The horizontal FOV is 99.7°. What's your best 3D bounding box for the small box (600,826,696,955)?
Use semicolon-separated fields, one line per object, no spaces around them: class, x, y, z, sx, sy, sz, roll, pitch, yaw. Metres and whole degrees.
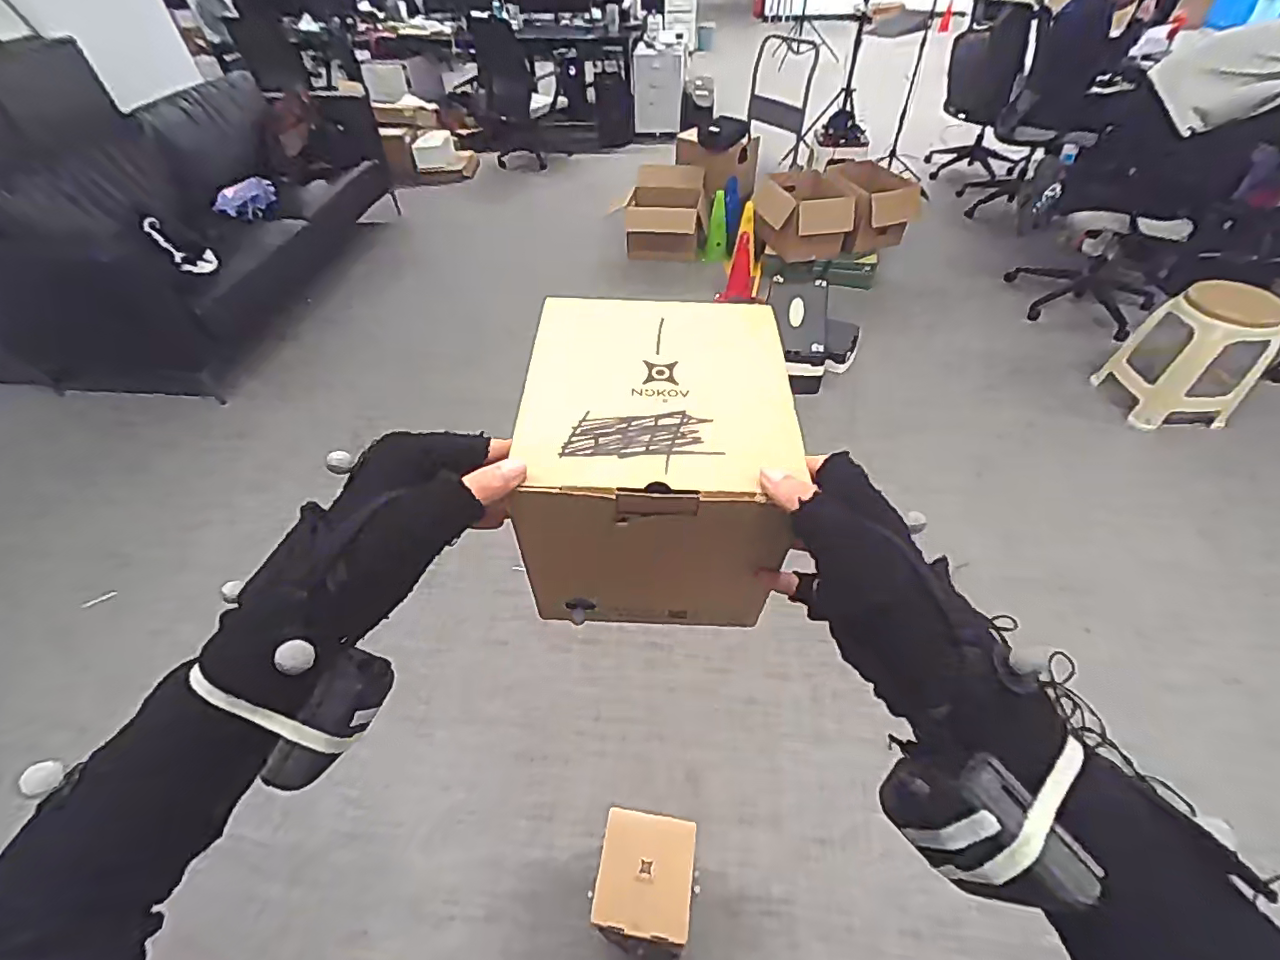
small box;0.022;0.856;1.126;0.168;0.176;0.179;6;48;9

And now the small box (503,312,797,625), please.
small box;0.008;-0.004;0.407;0.168;0.176;0.179;2;50;0
